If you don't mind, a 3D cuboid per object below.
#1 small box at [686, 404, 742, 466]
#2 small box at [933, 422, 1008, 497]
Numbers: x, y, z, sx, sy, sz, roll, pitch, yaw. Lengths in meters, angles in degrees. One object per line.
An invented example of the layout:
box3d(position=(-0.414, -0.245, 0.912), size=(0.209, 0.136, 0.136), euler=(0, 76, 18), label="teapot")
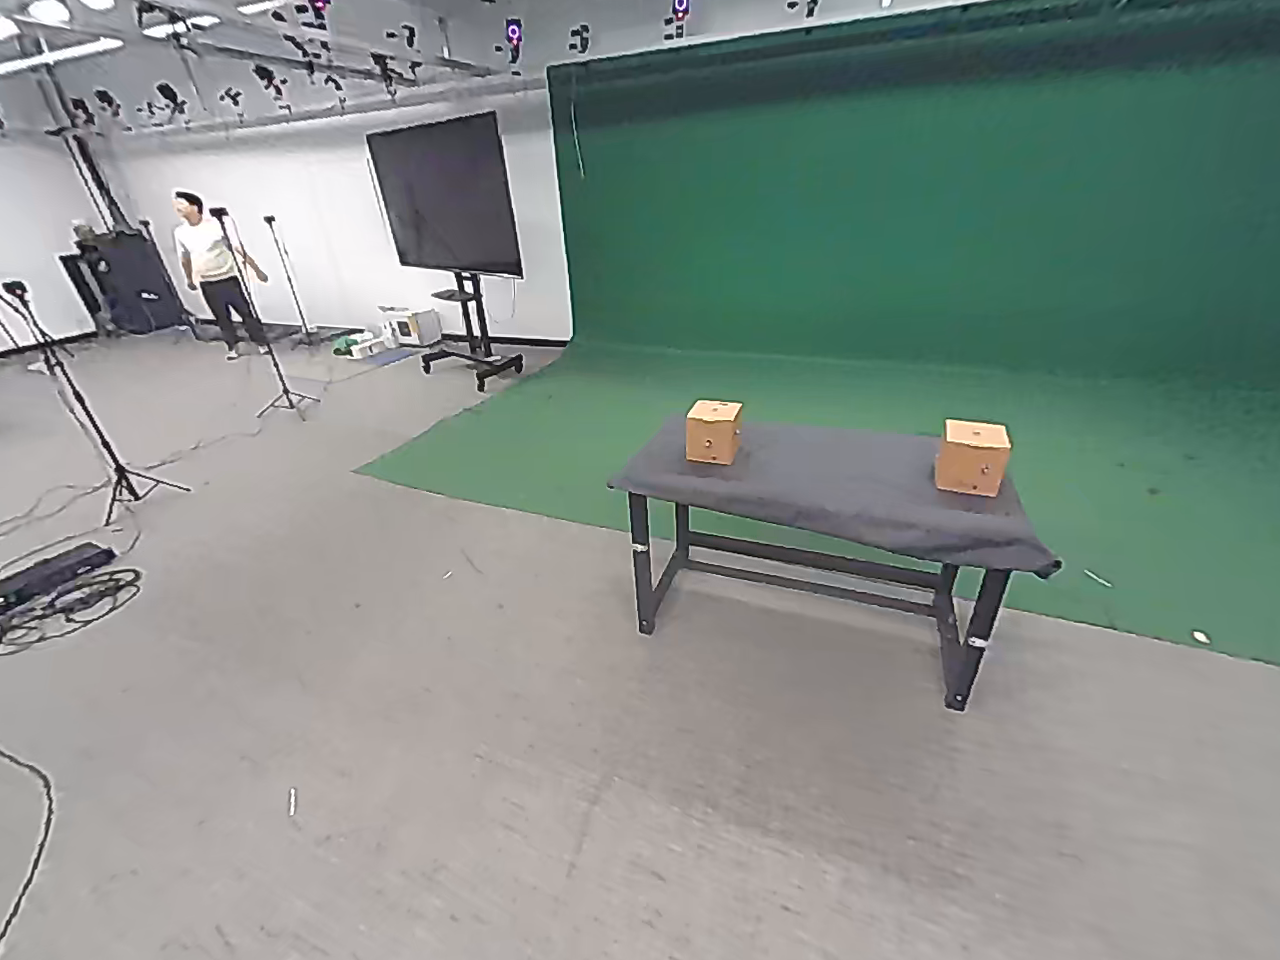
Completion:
box3d(position=(0.272, -0.163, 1.961), size=(0.168, 0.176, 0.179), euler=(8, 31, 19), label="small box")
box3d(position=(1.027, -0.064, 1.692), size=(0.168, 0.176, 0.179), euler=(10, 31, 22), label="small box")
